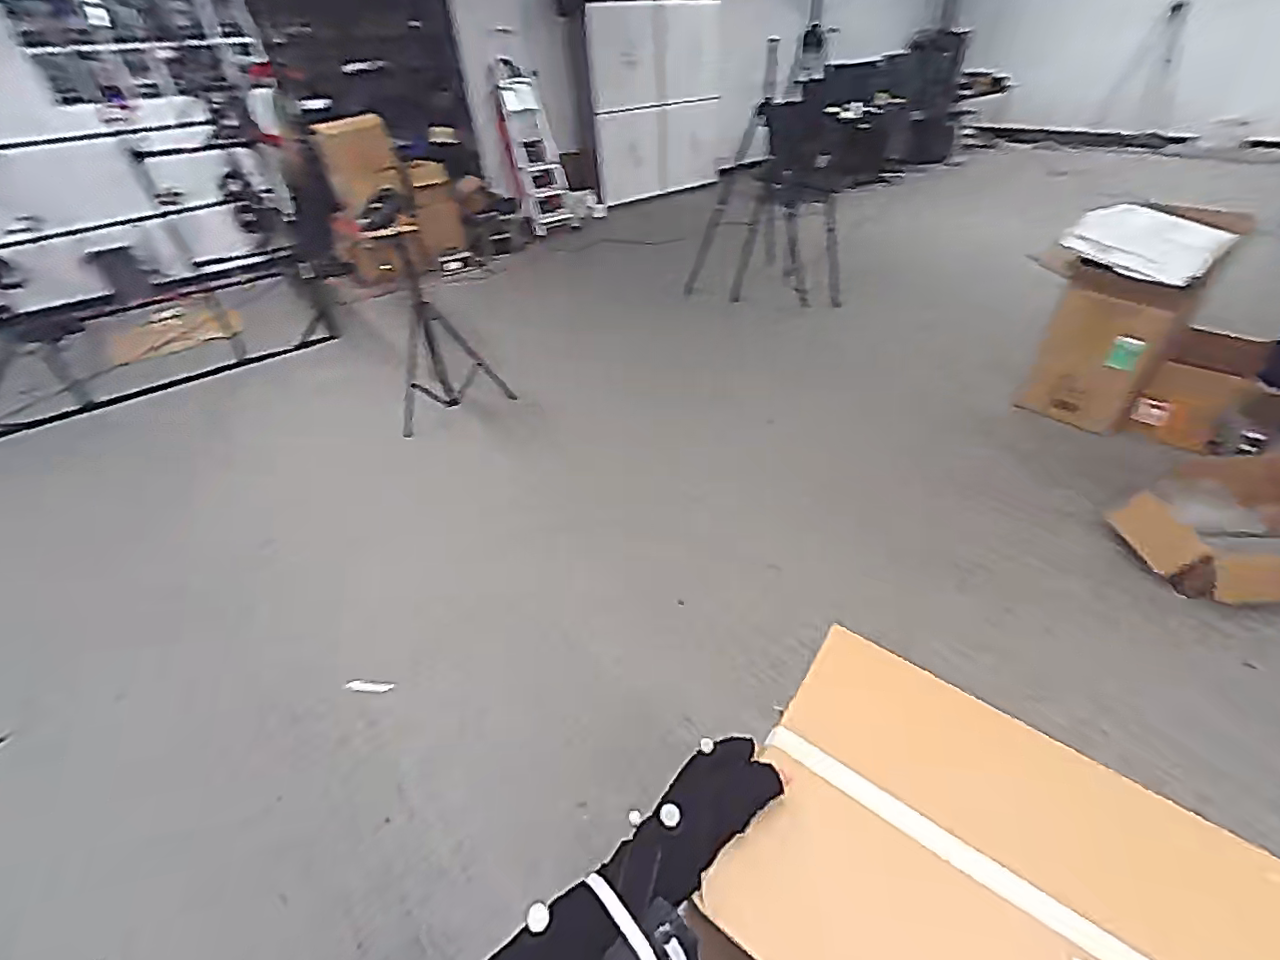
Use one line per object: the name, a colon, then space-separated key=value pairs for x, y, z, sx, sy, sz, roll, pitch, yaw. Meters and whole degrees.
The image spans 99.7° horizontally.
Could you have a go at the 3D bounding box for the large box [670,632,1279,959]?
large box: x=0.284 y=0.439 z=0.543 sx=0.408 sy=0.320 sz=0.320 roll=26 pitch=47 yaw=25
